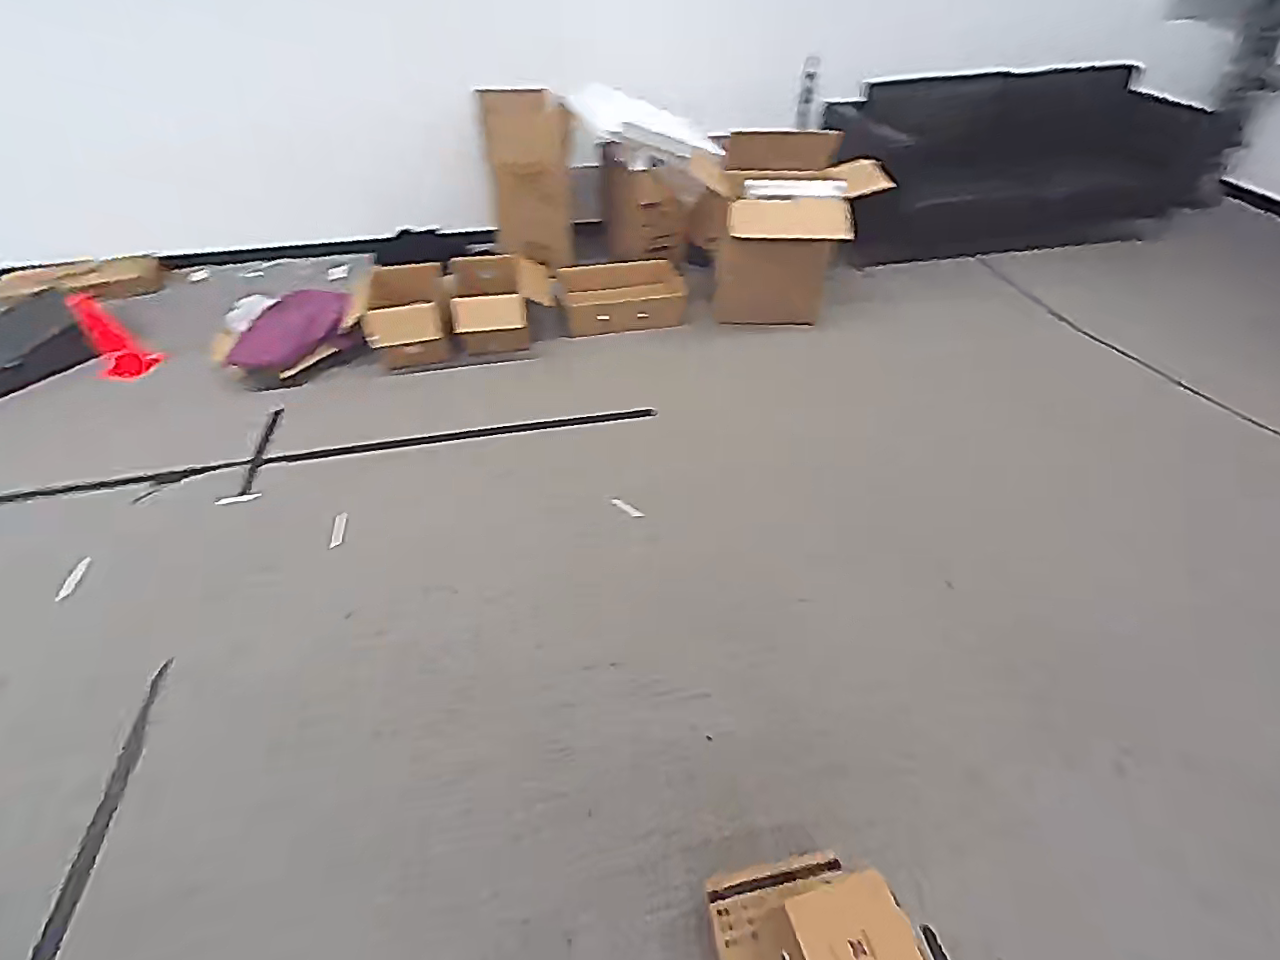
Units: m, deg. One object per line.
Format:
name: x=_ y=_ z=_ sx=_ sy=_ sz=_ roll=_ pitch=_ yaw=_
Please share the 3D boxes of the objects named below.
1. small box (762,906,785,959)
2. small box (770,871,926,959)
small box: x=0.331 y=0.877 z=0.985 sx=0.179 sy=0.176 sz=0.168 roll=-7 pitch=48 yaw=-7
small box: x=0.332 y=0.762 z=0.868 sx=0.179 sy=0.176 sz=0.168 roll=-12 pitch=47 yaw=-12
